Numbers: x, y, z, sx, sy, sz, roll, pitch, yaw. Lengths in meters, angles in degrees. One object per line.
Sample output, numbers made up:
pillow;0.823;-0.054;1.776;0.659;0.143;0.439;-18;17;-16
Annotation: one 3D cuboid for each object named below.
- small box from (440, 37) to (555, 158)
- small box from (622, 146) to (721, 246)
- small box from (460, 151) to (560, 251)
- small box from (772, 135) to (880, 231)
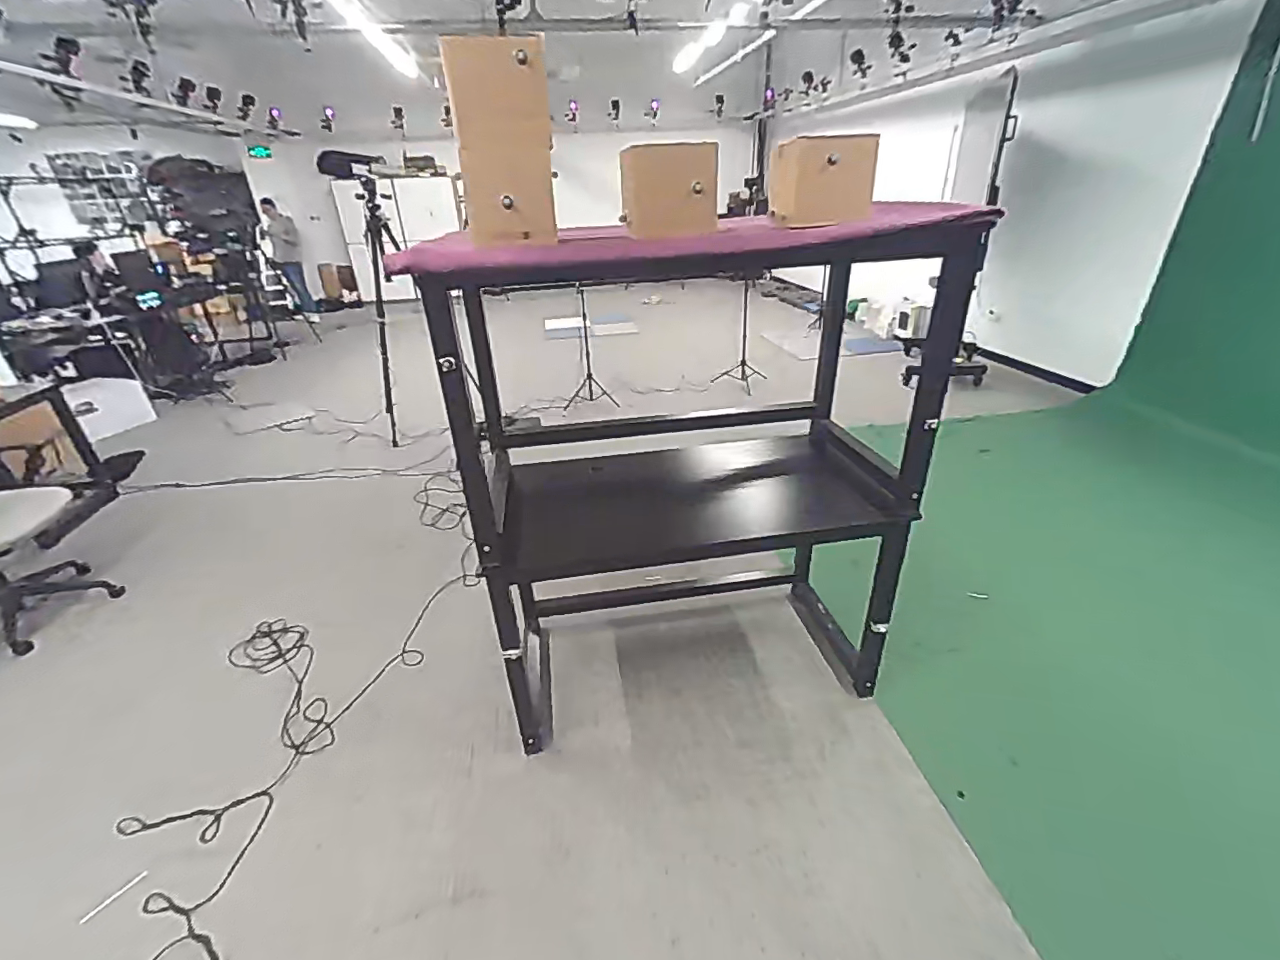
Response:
small box;-0.258;-0.702;1.012;0.179;0.176;0.168;-6;29;-9
small box;0.062;-0.595;1.137;0.179;0.176;0.168;-8;28;-7
small box;-0.254;-0.559;1.089;0.168;0.176;0.179;-6;28;-8
small box;0.401;-0.648;1.198;0.179;0.176;0.168;-6;26;-5
